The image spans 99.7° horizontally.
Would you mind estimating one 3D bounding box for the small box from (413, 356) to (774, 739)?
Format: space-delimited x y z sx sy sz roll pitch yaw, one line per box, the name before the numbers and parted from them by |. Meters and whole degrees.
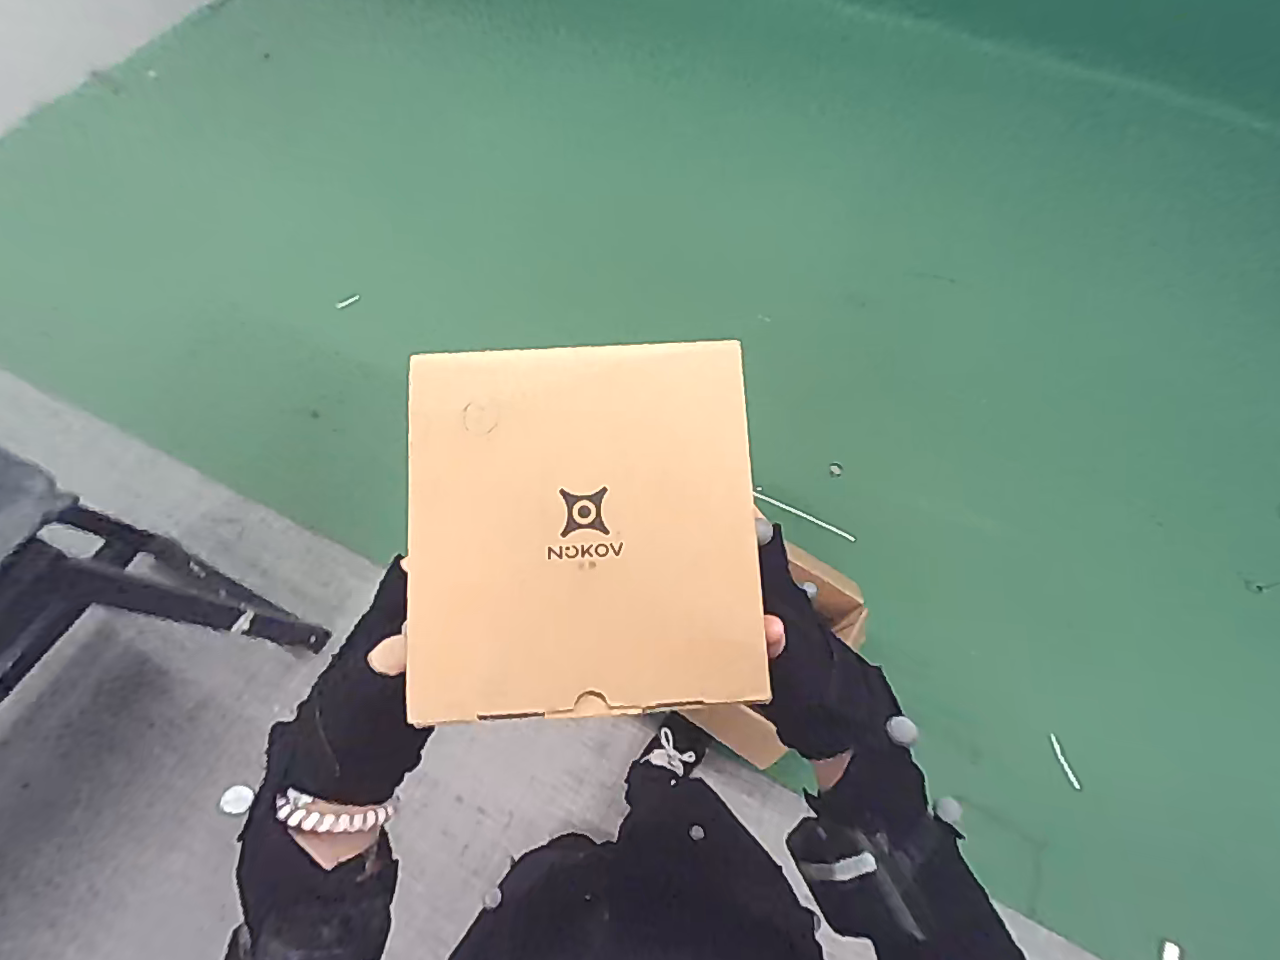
small box | -0.028 0.038 0.335 0.168 0.176 0.179 -3 82 -3
